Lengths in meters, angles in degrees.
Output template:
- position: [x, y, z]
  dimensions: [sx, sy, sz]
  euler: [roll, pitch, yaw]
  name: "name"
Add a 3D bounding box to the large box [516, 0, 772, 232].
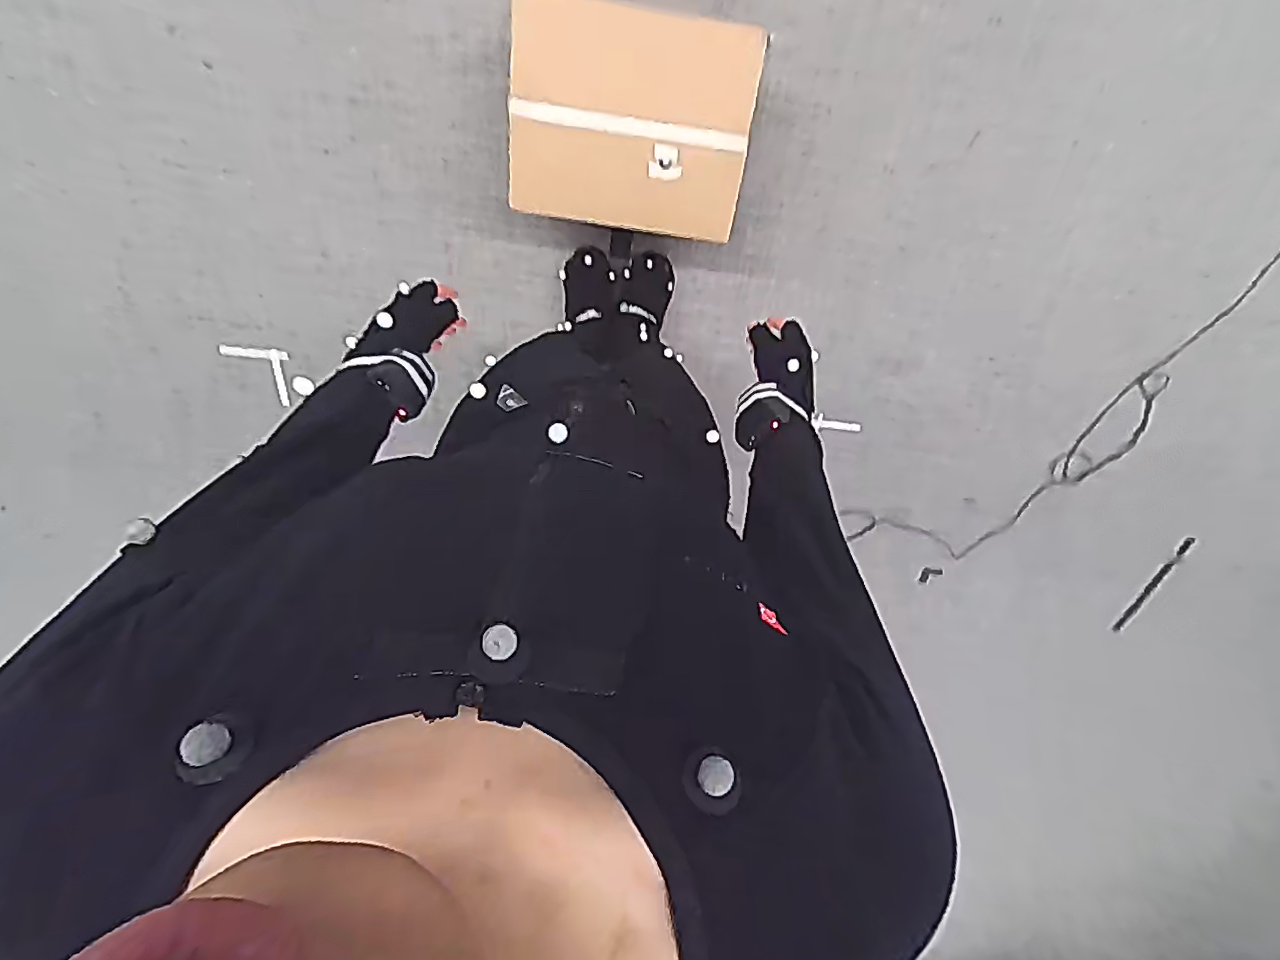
- position: [-0.011, -0.679, 1.032]
  dimensions: [0.408, 0.320, 0.320]
  euler: [6, 120, -4]
  name: "large box"
